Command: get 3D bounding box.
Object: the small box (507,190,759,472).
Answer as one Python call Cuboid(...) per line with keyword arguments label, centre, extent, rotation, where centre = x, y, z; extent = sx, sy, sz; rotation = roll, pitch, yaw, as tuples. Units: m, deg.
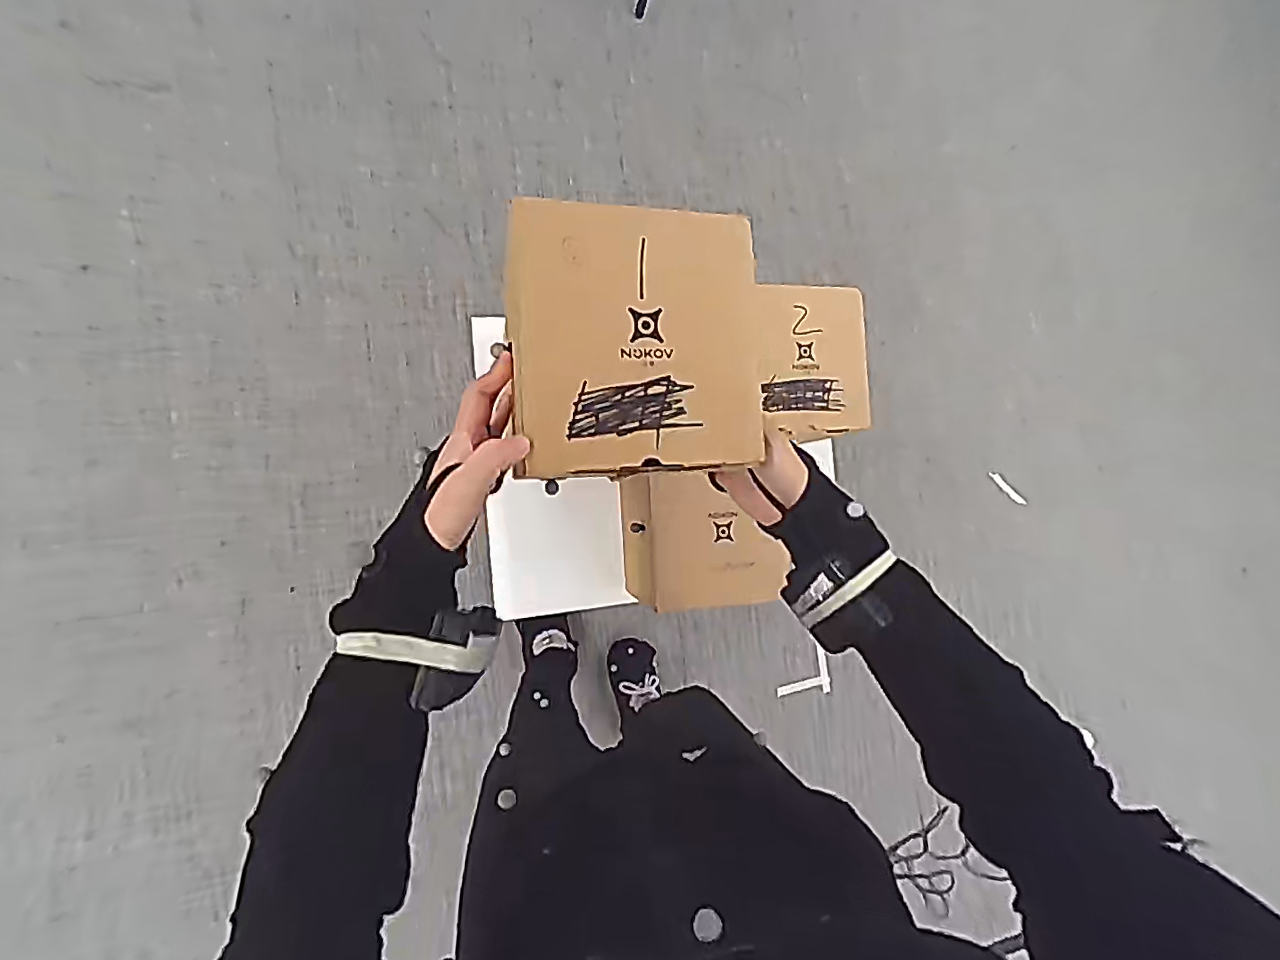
Cuboid(label="small box", centre=(-0.019, -0.095, 0.432), extent=(0.168, 0.176, 0.179), rotation=(-2, 89, -15))
